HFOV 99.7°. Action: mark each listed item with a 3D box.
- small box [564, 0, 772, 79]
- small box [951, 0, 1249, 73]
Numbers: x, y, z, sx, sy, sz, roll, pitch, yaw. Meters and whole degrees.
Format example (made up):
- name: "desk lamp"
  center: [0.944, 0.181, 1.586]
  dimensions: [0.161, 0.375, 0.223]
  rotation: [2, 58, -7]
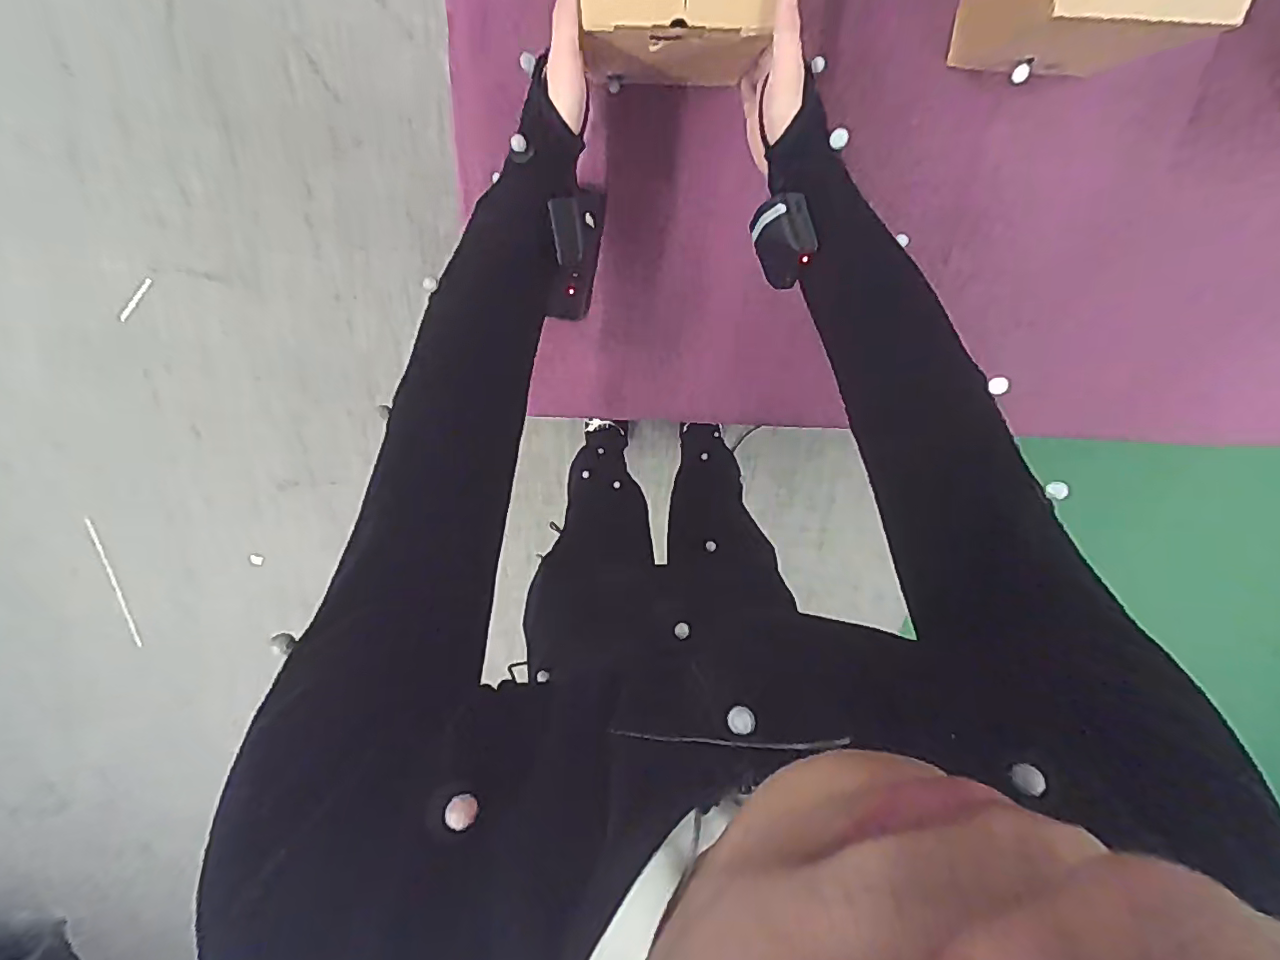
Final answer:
- name: "small box"
  center: [0.020, -0.469, 0.465]
  dimensions: [0.168, 0.176, 0.179]
  rotation: [-1, 113, -3]
- name: "small box"
  center: [0.410, -0.491, 0.474]
  dimensions: [0.168, 0.176, 0.179]
  rotation: [2, 114, -2]
